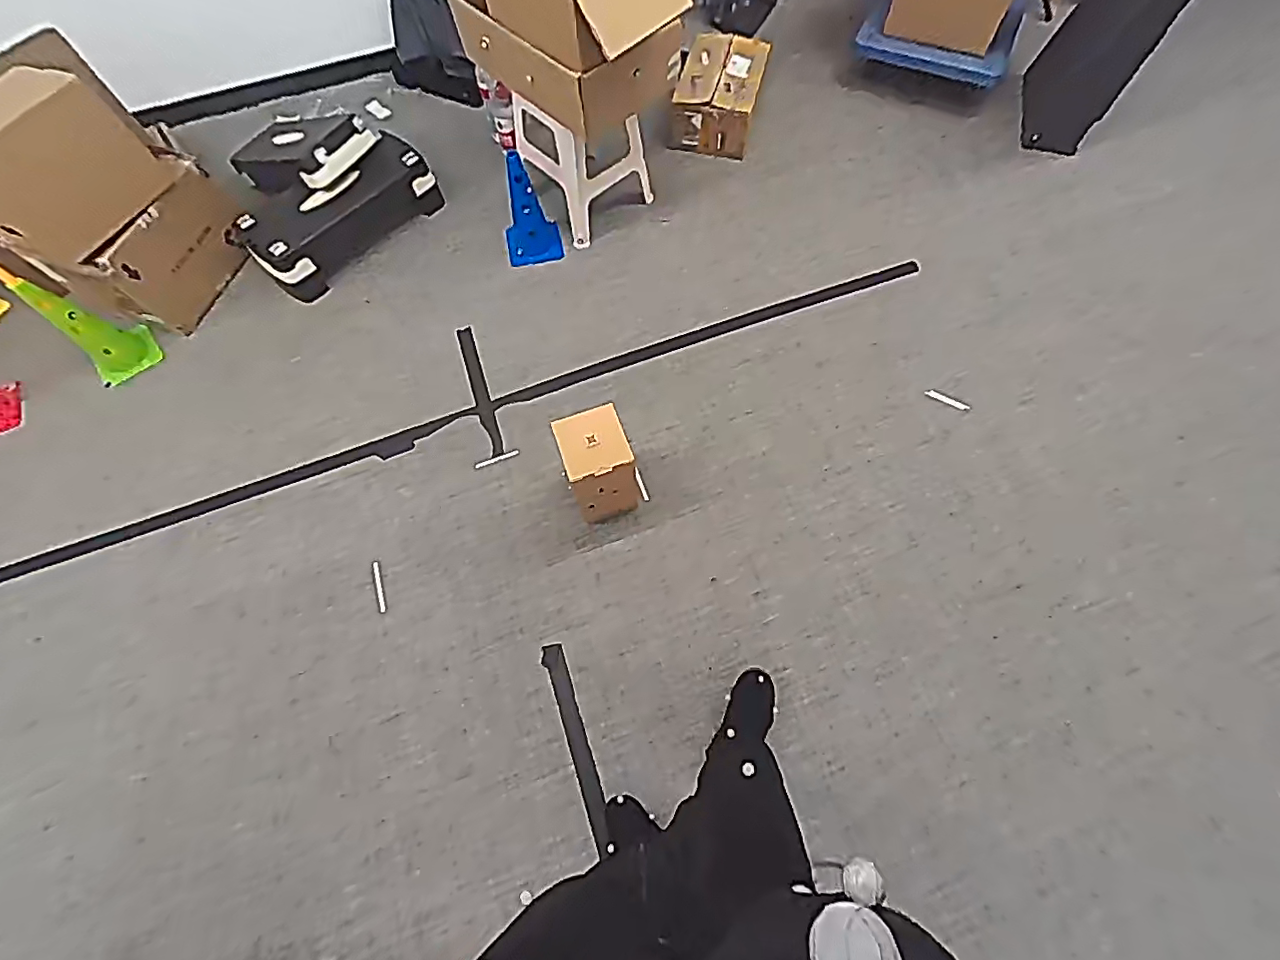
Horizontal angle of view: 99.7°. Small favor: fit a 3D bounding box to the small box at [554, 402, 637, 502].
[{"bbox_3d":[-0.111,-0.067,1.398,0.168,0.176,0.179,-19,68,-7],"label":"small box"}]
